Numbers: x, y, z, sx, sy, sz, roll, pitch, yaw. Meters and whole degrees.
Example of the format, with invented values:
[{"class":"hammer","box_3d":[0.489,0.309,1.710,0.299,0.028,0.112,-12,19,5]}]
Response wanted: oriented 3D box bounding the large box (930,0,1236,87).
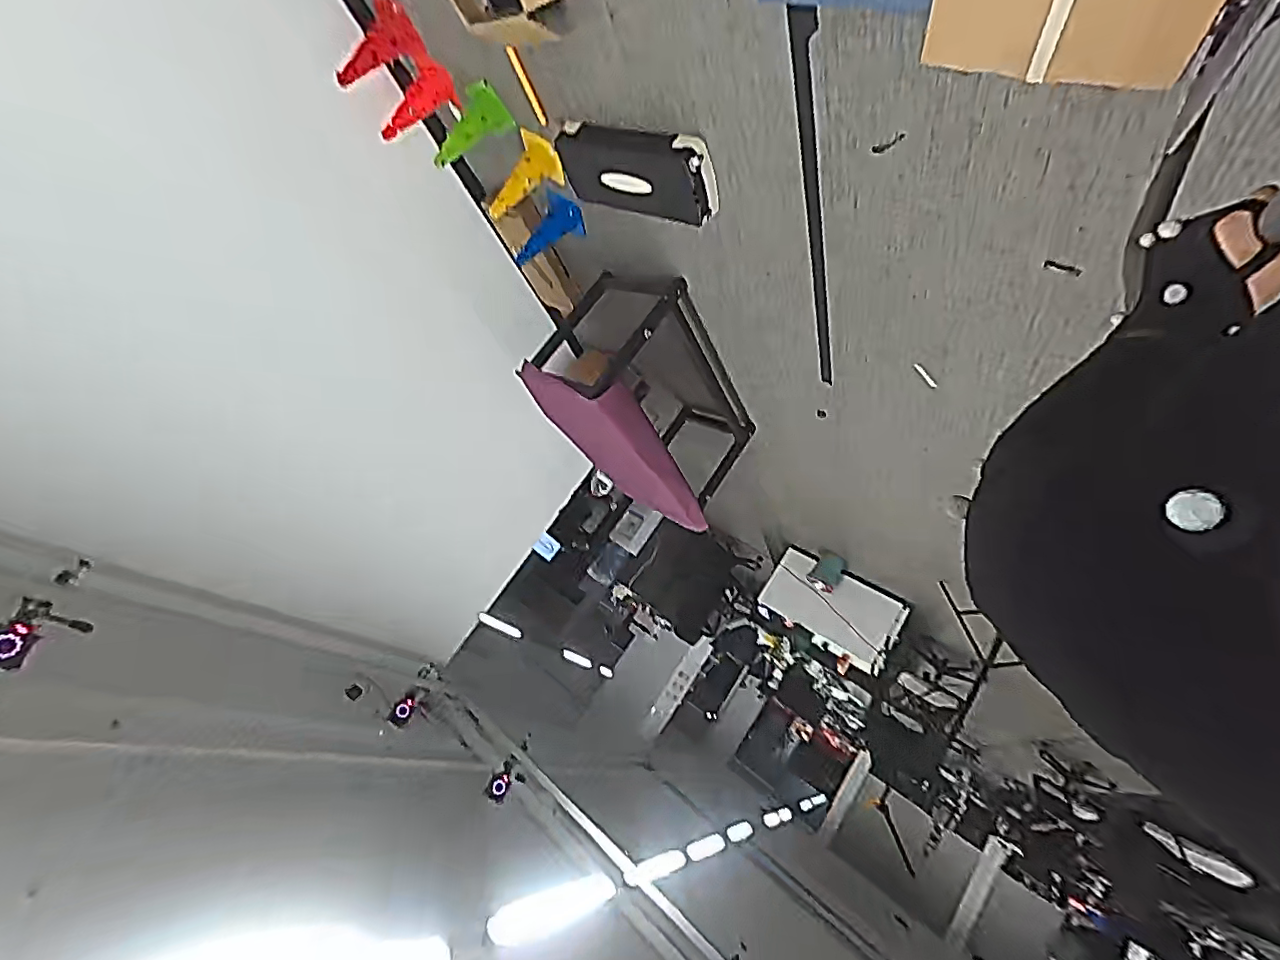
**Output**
[{"class":"large box","box_3d":[0.584,-0.752,0.599,0.320,0.320,0.408,29,164,26]}]
